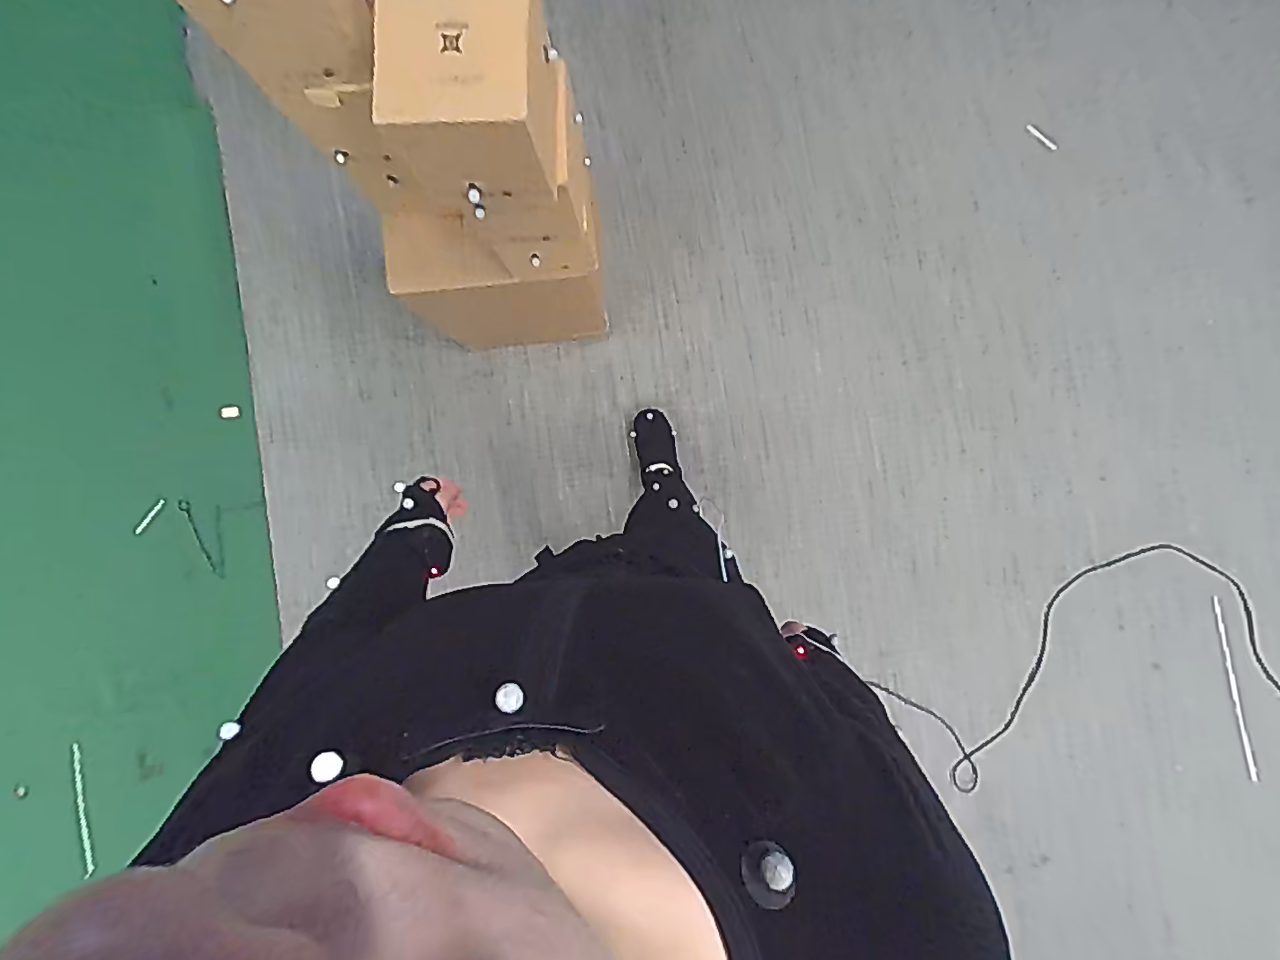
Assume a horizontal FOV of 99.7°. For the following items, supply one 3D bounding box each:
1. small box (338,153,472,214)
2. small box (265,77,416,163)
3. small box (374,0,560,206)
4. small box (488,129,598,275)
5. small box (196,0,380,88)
[{"bbox_3d":[-0.417,-0.609,0.988,0.179,0.176,0.168,2,88,1],"label":"small box"},{"bbox_3d":[-0.427,-0.616,0.824,0.168,0.176,0.179,4,87,2],"label":"small box"},{"bbox_3d":[-0.193,-0.460,0.648,0.168,0.176,0.179,1,89,2],"label":"small box"},{"bbox_3d":[-0.171,-0.486,0.975,0.168,0.176,0.179,-6,88,2],"label":"small box"},{"bbox_3d":[-0.437,-0.628,0.660,0.168,0.176,0.179,-3,87,2],"label":"small box"}]
